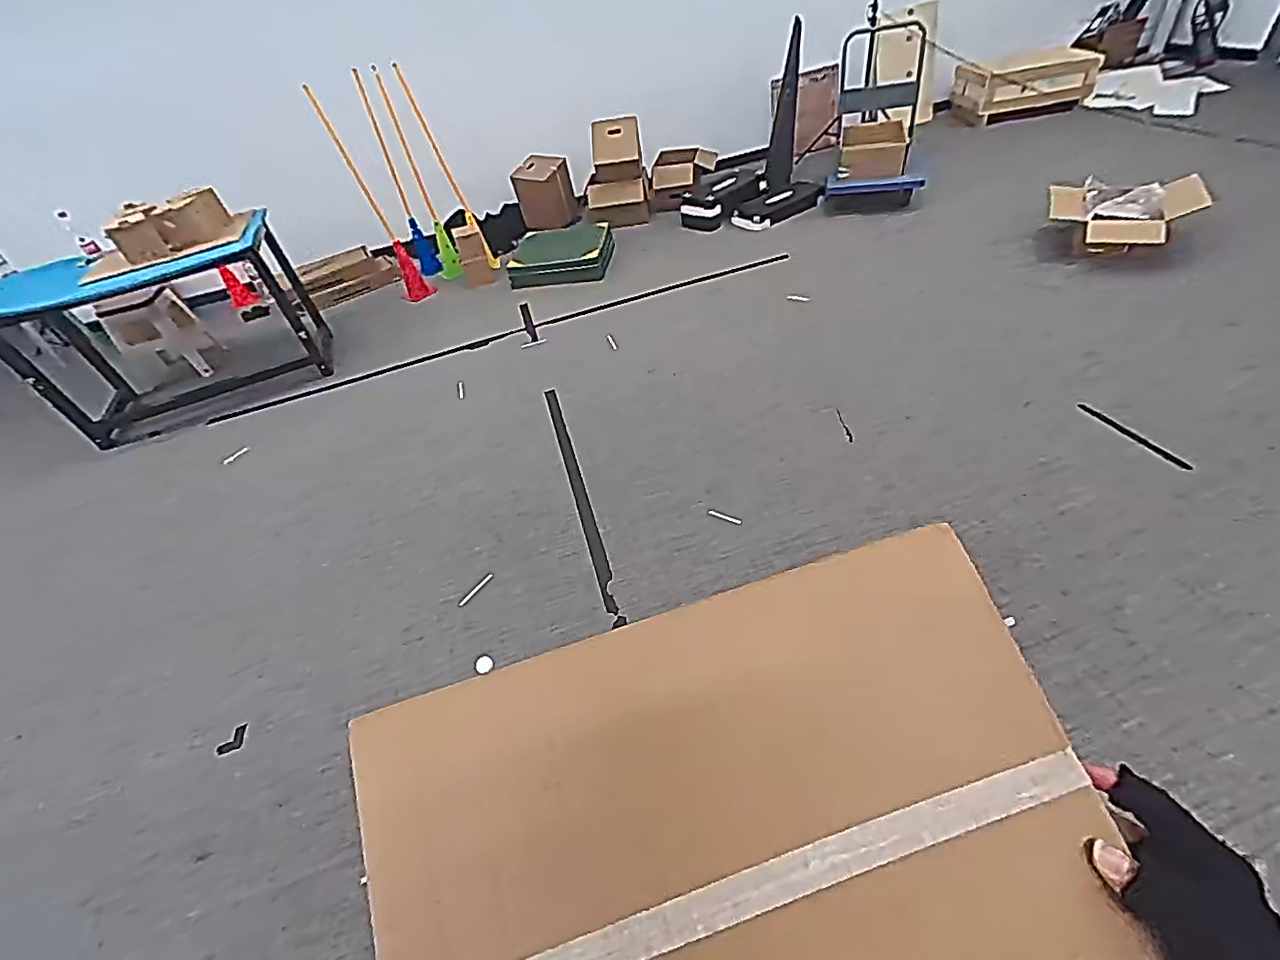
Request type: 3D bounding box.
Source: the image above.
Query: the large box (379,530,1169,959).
[{"bbox_3d":[0.070,0.281,0.450,0.408,0.320,0.320,-18,72,-4],"label":"large box"}]
